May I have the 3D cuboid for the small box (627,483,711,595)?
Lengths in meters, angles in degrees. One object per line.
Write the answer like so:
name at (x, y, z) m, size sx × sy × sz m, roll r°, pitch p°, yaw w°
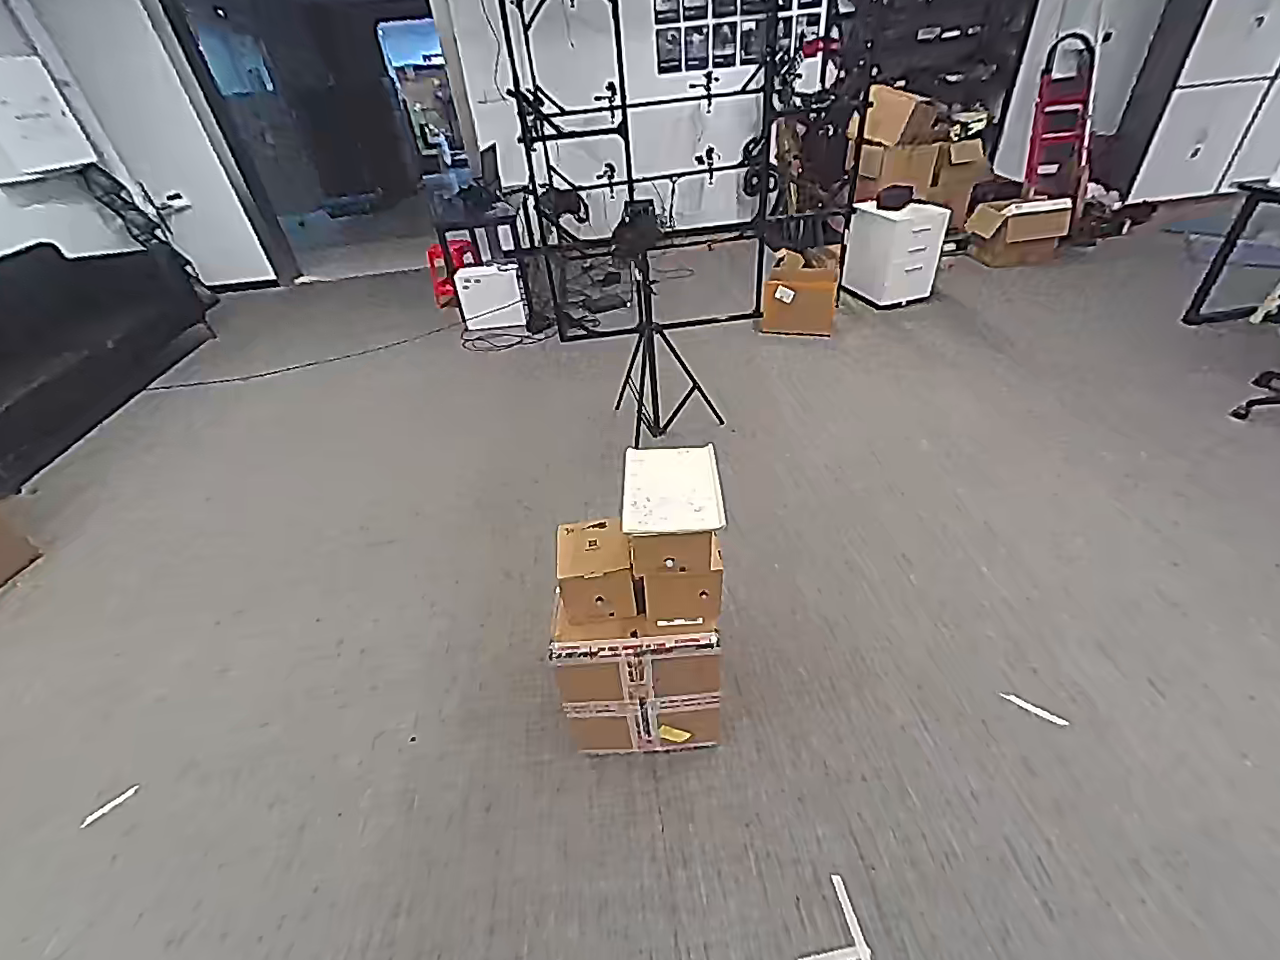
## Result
small box at (0.059, 0.125, 1.160) m, size 0.168 × 0.176 × 0.179 m, roll -1°, pitch 39°, yaw 2°
